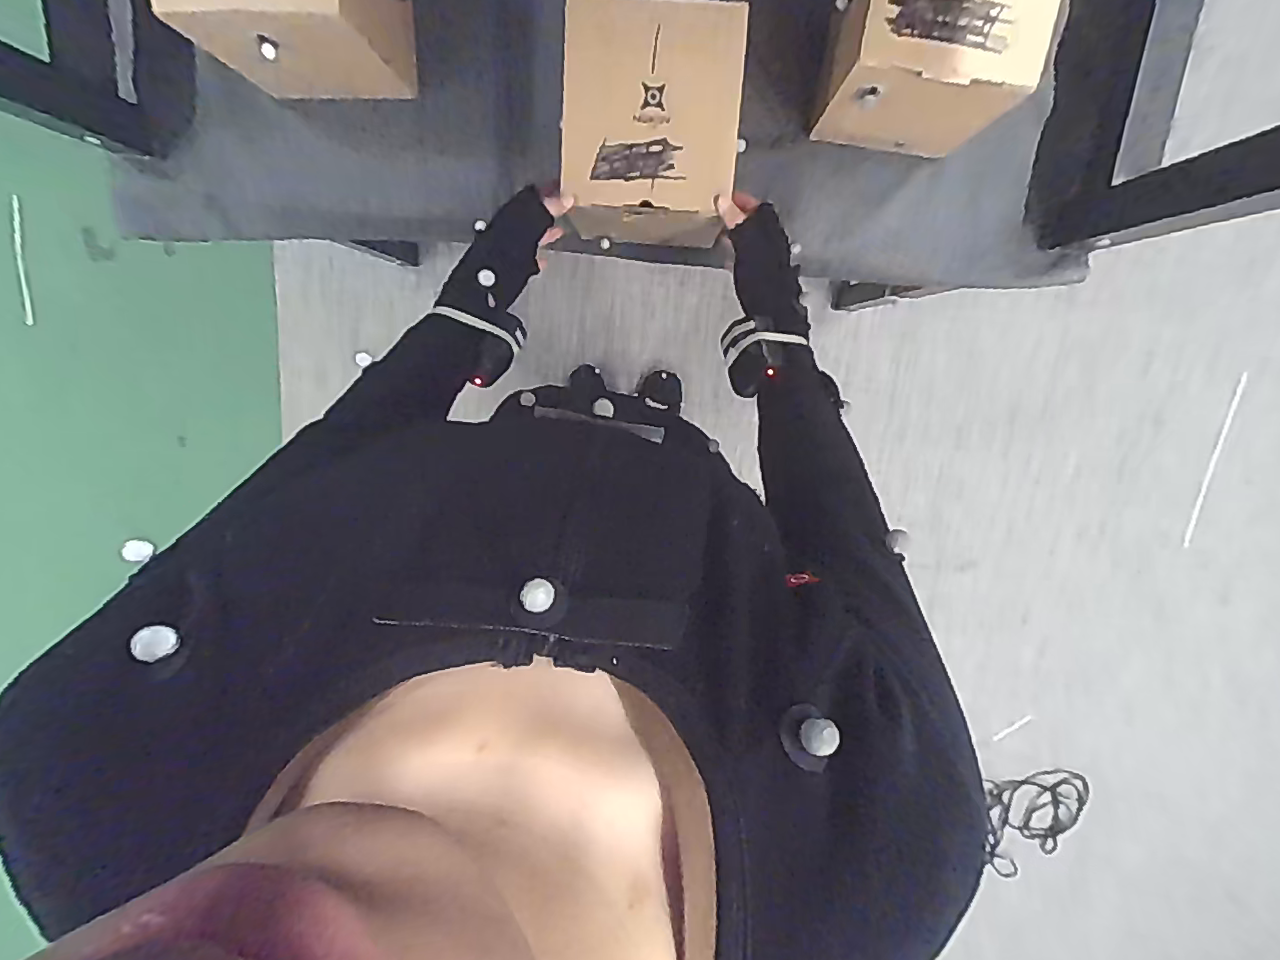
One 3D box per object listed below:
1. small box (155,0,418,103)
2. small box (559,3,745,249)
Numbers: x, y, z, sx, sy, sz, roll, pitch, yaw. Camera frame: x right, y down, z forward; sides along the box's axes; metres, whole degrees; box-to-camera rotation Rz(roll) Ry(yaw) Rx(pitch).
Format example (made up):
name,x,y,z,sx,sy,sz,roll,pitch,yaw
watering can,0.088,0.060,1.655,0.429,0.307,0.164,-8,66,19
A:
name,x,y,z,sx,sy,sz,roll,pitch,yaw
small box,-0.352,-0.515,0.555,0.179,0.176,0.168,1,103,0
small box,0.010,-0.358,0.583,0.168,0.176,0.179,4,103,0
